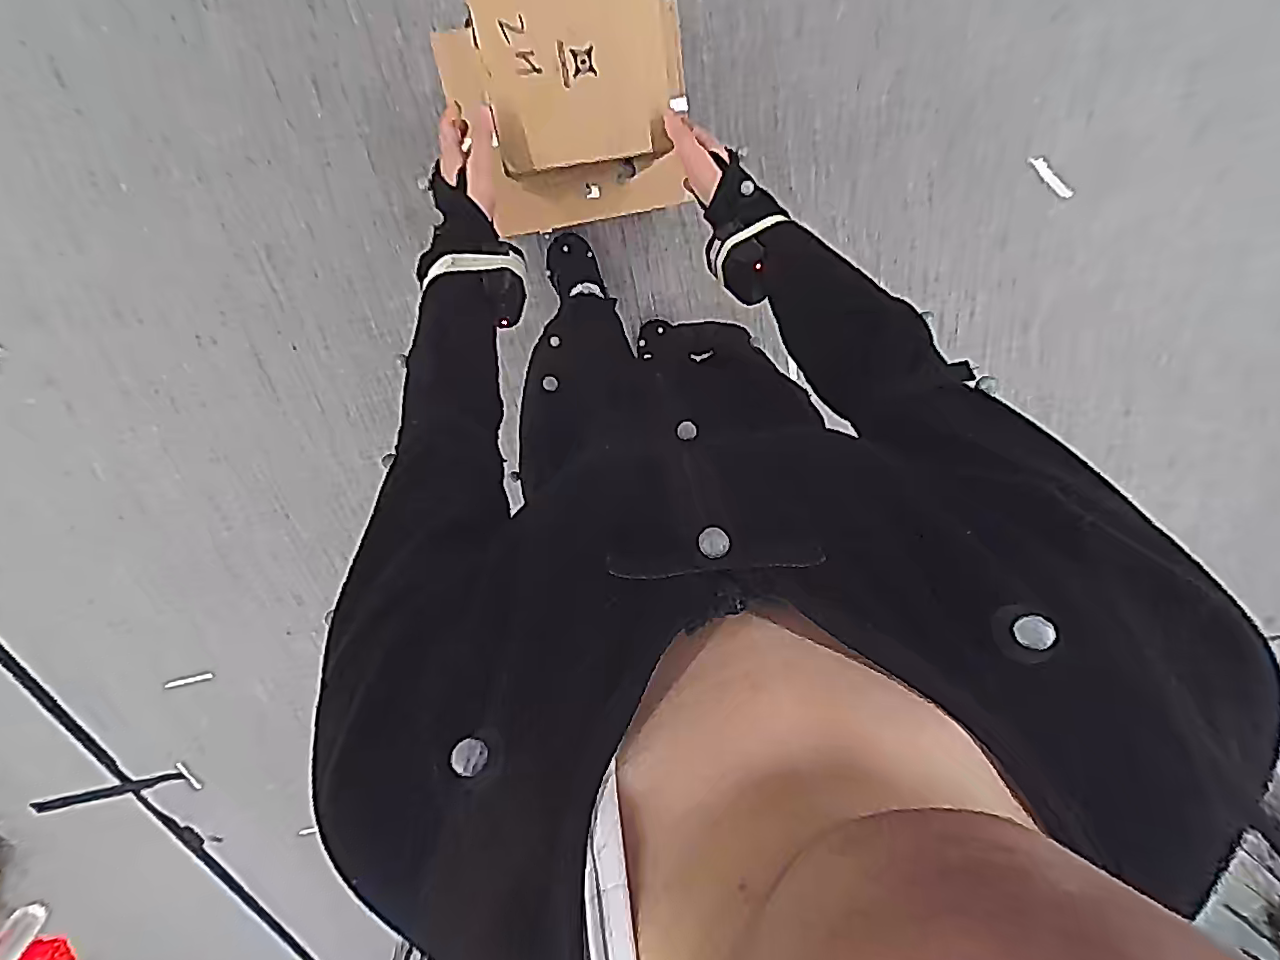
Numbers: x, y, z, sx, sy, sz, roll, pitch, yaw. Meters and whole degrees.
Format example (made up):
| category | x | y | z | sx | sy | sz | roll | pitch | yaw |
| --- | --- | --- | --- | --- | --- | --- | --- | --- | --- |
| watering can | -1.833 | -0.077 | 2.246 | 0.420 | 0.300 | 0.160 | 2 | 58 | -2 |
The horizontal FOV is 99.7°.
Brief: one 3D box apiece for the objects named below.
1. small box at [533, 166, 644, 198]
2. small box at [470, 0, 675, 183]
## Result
| category | x | y | z | sx | sy | sz | roll | pitch | yaw |
| --- | --- | --- | --- | --- | --- | --- | --- | --- | --- |
| small box | -0.102 | -0.567 | 0.879 | 0.179 | 0.176 | 0.168 | -14 | 117 | -1 |
| small box | -0.069 | -0.427 | 0.583 | 0.179 | 0.176 | 0.168 | -10 | 116 | -2 |
